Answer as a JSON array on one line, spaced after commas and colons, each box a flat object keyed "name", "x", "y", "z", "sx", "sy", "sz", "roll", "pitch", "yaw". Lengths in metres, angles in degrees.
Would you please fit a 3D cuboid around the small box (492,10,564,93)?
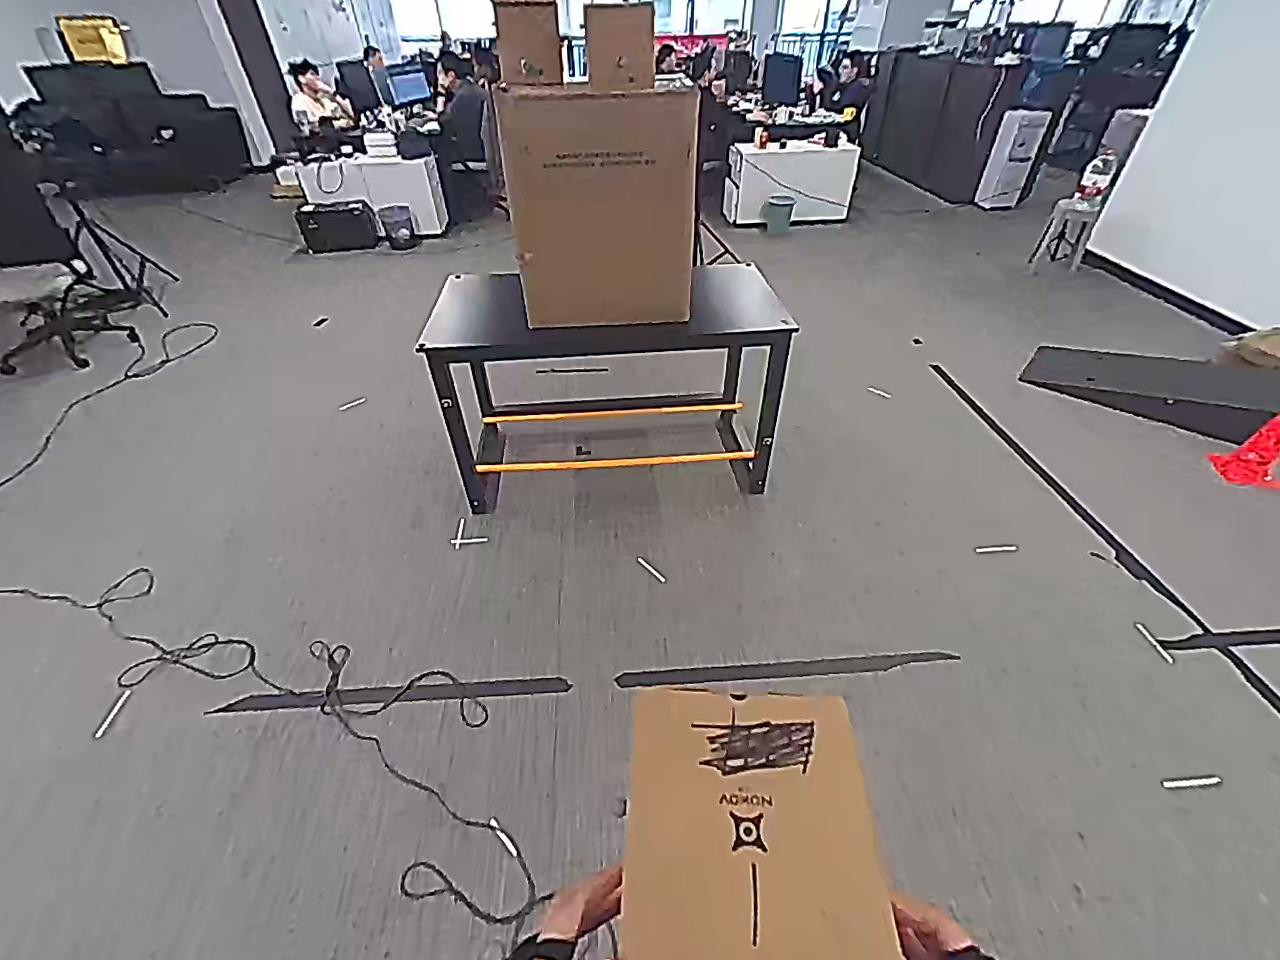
[{"name": "small box", "x": -0.300, "y": -1.166, "z": 1.473, "sx": 0.168, "sy": 0.176, "sz": 0.179, "roll": -7, "pitch": 41, "yaw": -6}]

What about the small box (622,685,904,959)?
[{"name": "small box", "x": 0.075, "y": 0.284, "z": 0.420, "sx": 0.168, "sy": 0.176, "sz": 0.179, "roll": 1, "pitch": 43, "yaw": 3}]

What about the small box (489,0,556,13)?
[{"name": "small box", "x": -0.303, "y": -1.281, "z": 1.355, "sx": 0.168, "sy": 0.176, "sz": 0.179, "roll": -5, "pitch": 41, "yaw": -5}]

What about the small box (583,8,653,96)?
[{"name": "small box", "x": -0.058, "y": -1.097, "z": 1.385, "sx": 0.168, "sy": 0.176, "sz": 0.179, "roll": -6, "pitch": 42, "yaw": -3}]
